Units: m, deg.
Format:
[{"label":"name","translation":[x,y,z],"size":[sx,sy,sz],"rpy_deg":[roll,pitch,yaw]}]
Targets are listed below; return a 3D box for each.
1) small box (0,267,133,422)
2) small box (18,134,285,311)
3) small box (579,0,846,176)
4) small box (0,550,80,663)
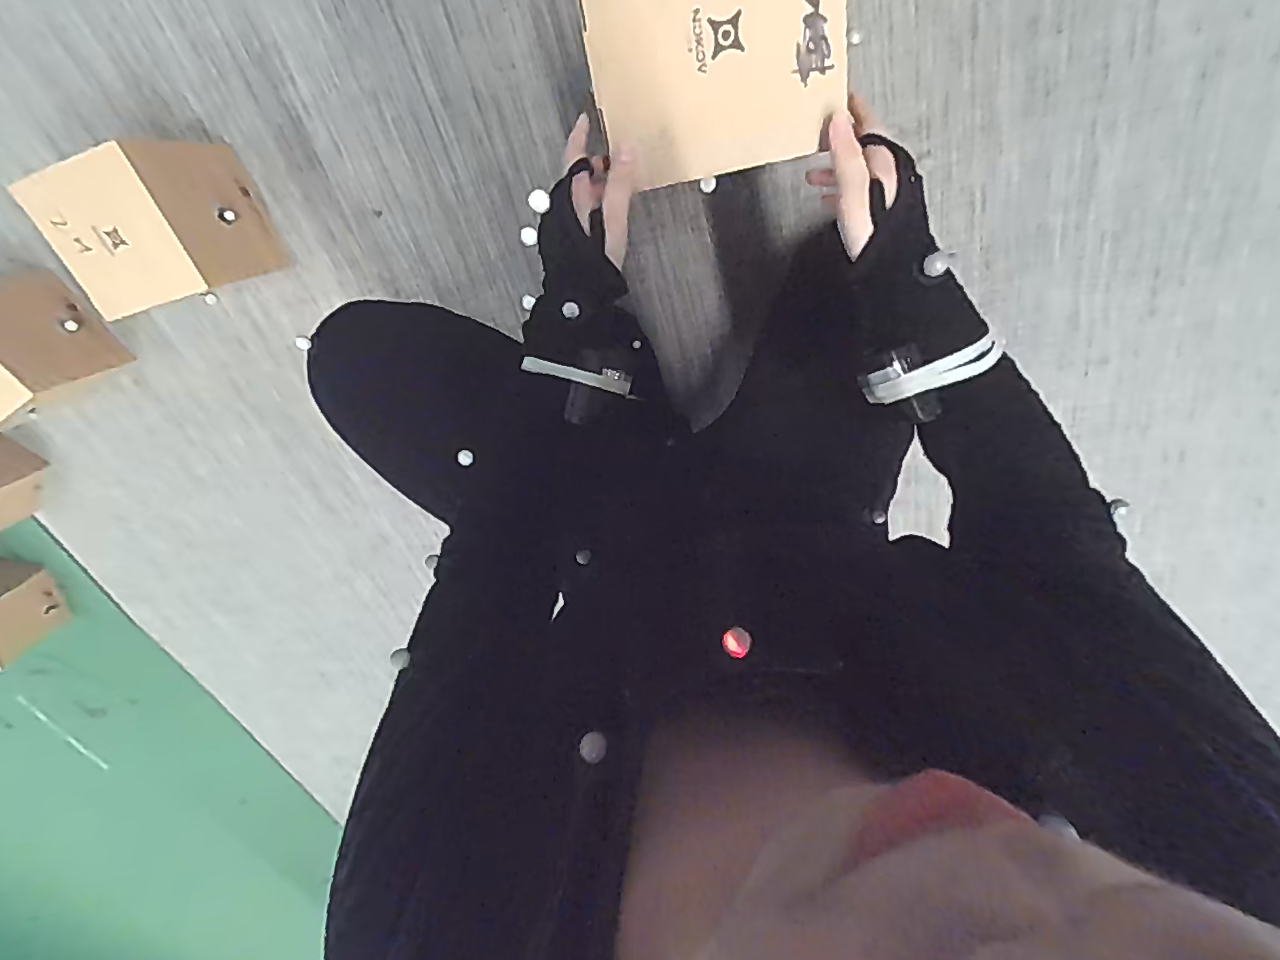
[{"label":"small box","translation":[-0.975,-0.211,0.851],"size":[0.179,0.176,0.168],"rpy_deg":[-22,116,19]},{"label":"small box","translation":[-0.622,-0.345,0.723],"size":[0.179,0.176,0.168],"rpy_deg":[-10,118,13]},{"label":"small box","translation":[0.059,-0.352,0.434],"size":[0.179,0.176,0.168],"rpy_deg":[-6,120,12]},{"label":"small box","translation":[-1.444,0.276,1.212],"size":[0.179,0.176,0.168],"rpy_deg":[11,122,2]}]
